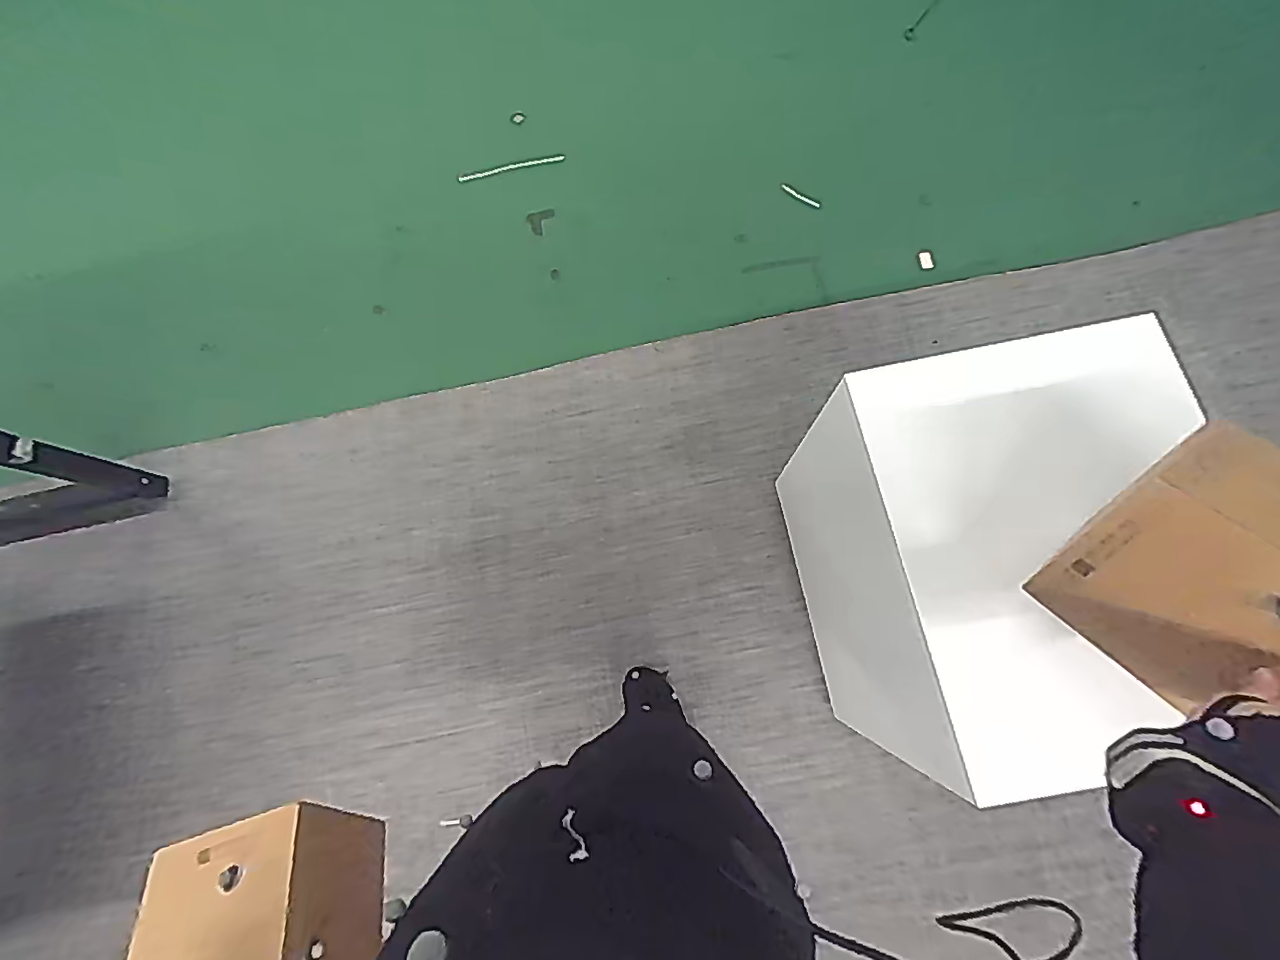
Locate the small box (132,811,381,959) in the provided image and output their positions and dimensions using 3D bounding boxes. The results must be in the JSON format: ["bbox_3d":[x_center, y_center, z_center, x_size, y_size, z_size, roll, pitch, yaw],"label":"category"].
[{"bbox_3d":[-0.411,0.492,0.603,0.168,0.179,0.176,-18,50,-2],"label":"small box"}]
